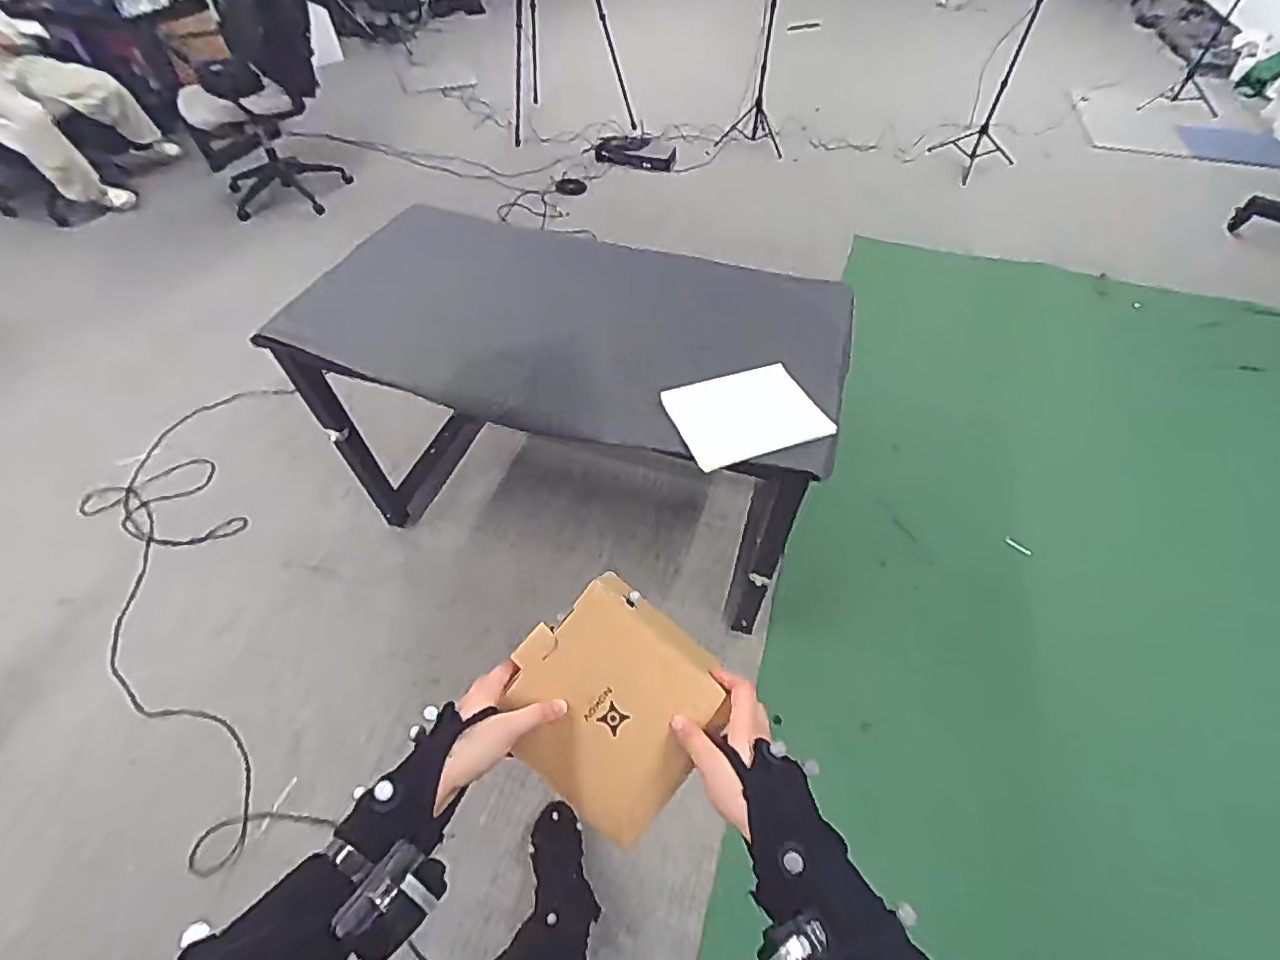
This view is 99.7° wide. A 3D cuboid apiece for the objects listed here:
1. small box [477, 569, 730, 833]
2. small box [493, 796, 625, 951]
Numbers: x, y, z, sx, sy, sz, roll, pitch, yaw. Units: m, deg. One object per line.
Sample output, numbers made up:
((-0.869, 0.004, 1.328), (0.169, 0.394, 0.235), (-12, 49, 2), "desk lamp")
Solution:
((-0.029, 0.207, 0.569), (0.179, 0.176, 0.168), (38, 87, 6), "small box")
((-0.154, 0.781, 1.091), (0.176, 0.168, 0.179), (55, 46, -6), "small box")
